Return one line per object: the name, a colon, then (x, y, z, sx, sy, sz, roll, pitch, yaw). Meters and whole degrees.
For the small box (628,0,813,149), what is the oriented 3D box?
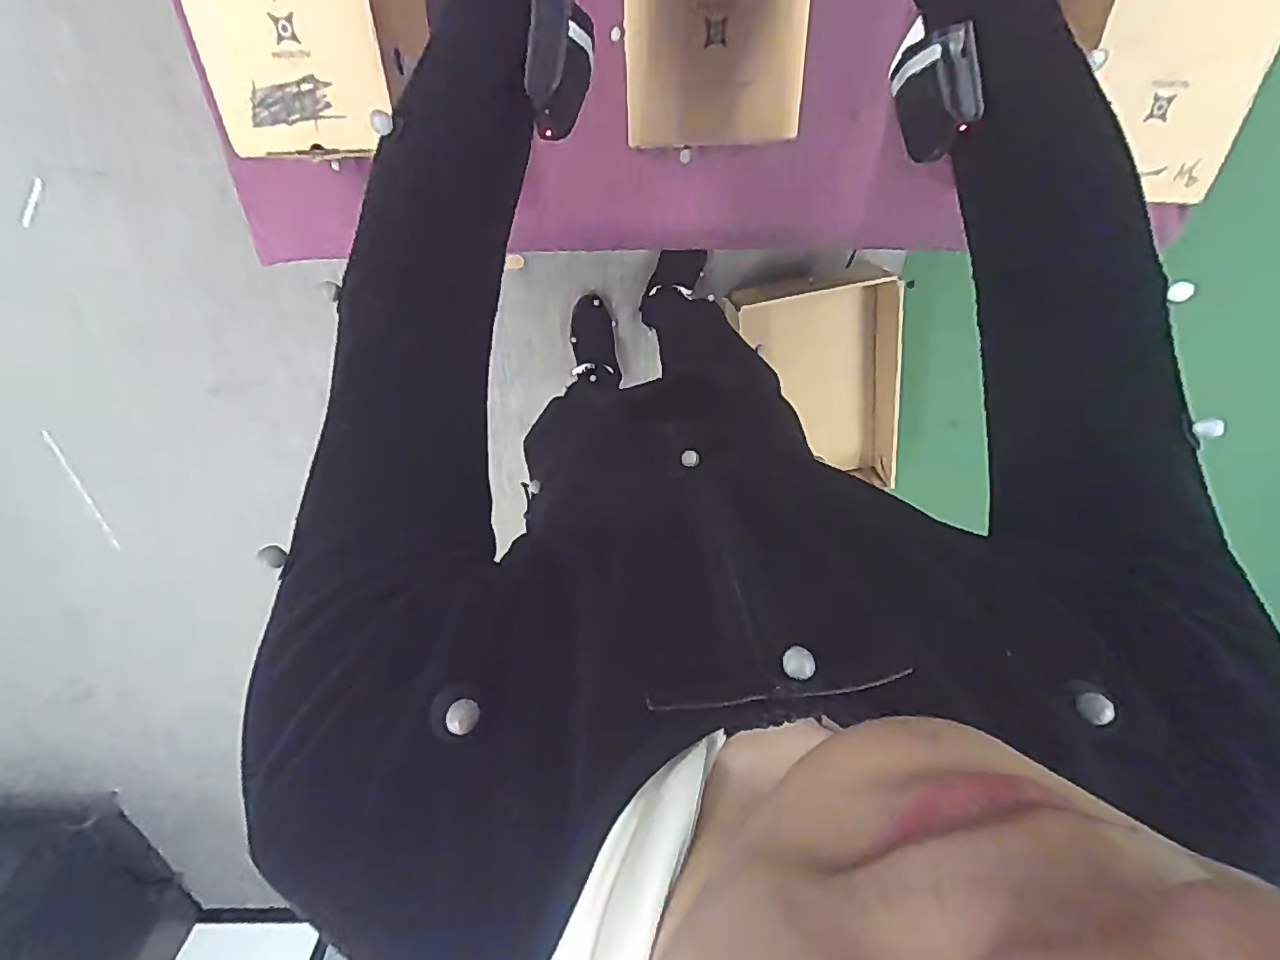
small box: (0.071, -0.446, 0.552, 0.168, 0.176, 0.179, -1, 120, 1)

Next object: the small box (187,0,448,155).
small box: (-0.313, -0.437, 0.555, 0.168, 0.176, 0.179, -1, 119, 0)

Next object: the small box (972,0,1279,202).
small box: (0.494, -0.398, 0.575, 0.168, 0.176, 0.179, 3, 118, 0)
